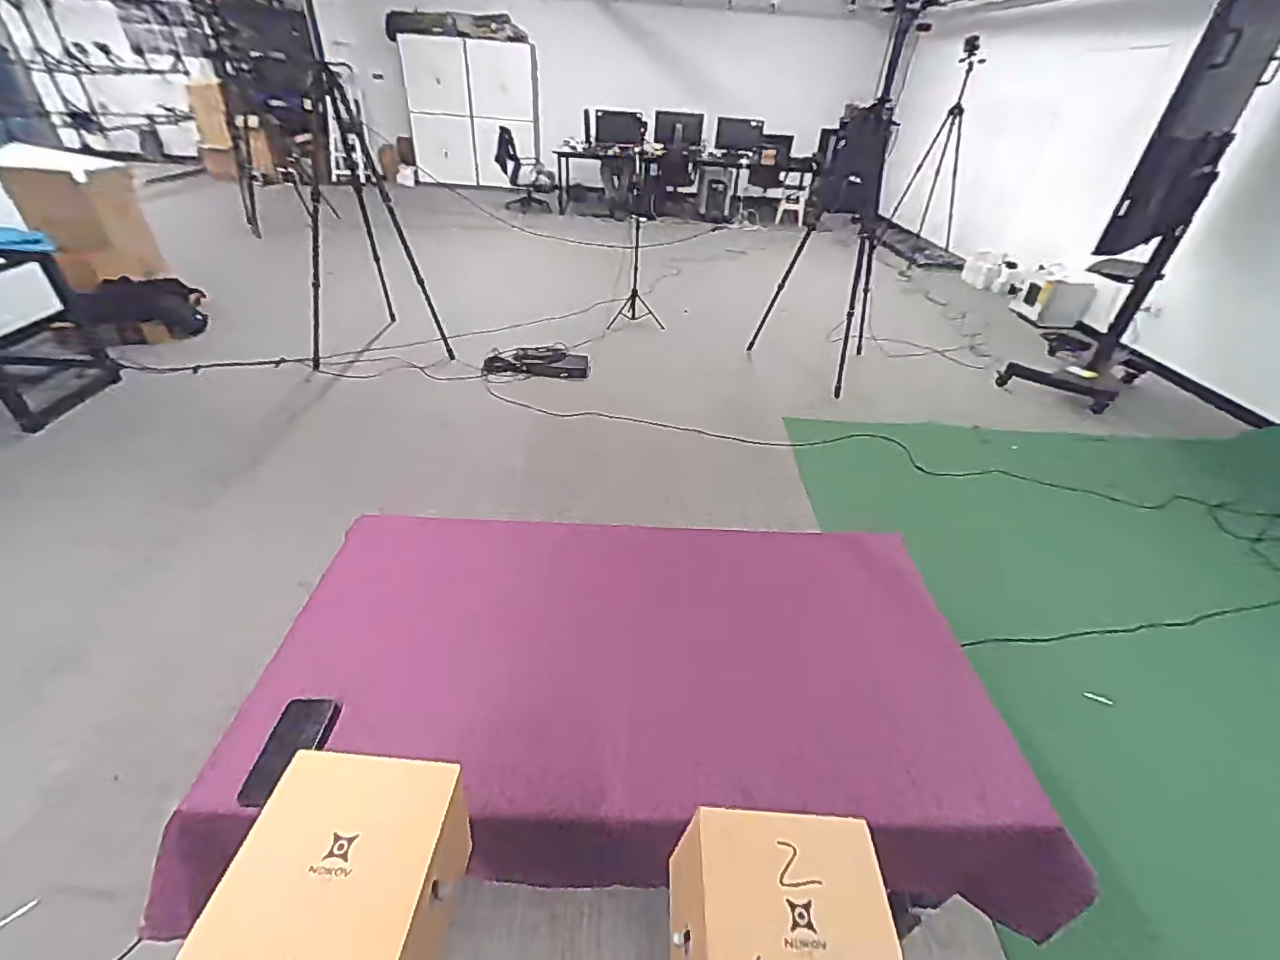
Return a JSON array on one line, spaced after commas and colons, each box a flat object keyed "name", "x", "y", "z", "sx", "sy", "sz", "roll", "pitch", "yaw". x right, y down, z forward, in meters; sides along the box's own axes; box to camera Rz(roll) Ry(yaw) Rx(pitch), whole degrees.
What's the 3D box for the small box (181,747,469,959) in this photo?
[{"name": "small box", "x": -0.269, "y": 0.391, "z": 0.516, "sx": 0.168, "sy": 0.176, "sz": 0.179, "roll": 7, "pitch": 34, "yaw": -1}]
